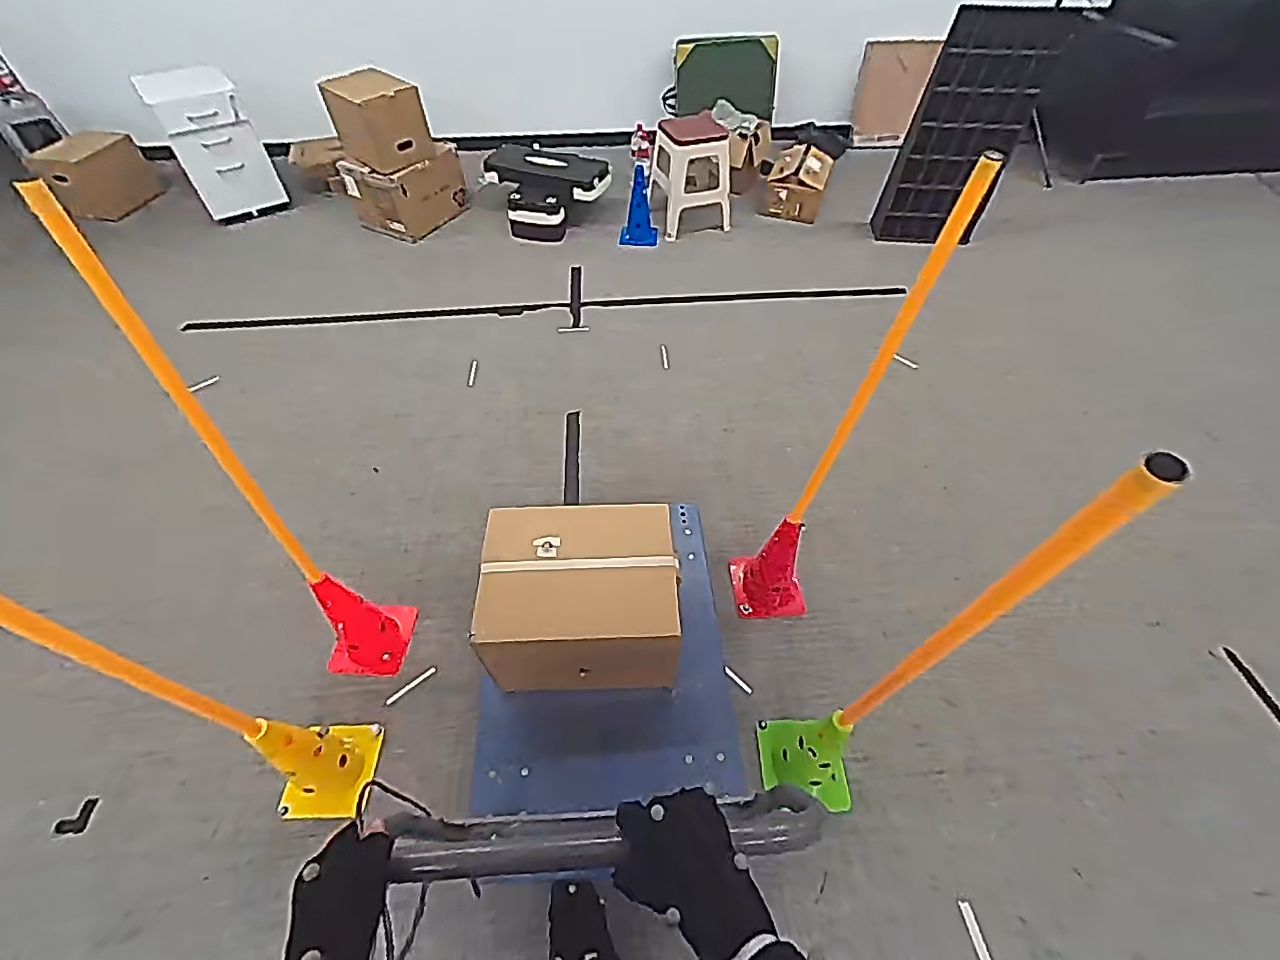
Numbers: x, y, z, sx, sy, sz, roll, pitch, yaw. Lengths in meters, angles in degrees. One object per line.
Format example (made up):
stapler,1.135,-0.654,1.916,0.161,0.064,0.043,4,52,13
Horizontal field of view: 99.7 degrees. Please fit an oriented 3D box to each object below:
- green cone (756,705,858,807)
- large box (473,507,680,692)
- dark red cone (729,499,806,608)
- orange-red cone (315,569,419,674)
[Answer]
green cone,0.395,0.575,1.186,0.202,0.368,0.200,0,51,-1
large box,-0.126,0.281,1.243,0.408,0.320,0.320,-2,52,-1
dark red cone,0.381,0.187,1.478,0.201,0.394,0.202,-2,51,-4
orange-red cone,-0.740,0.332,1.389,0.198,0.360,0.199,3,50,1
